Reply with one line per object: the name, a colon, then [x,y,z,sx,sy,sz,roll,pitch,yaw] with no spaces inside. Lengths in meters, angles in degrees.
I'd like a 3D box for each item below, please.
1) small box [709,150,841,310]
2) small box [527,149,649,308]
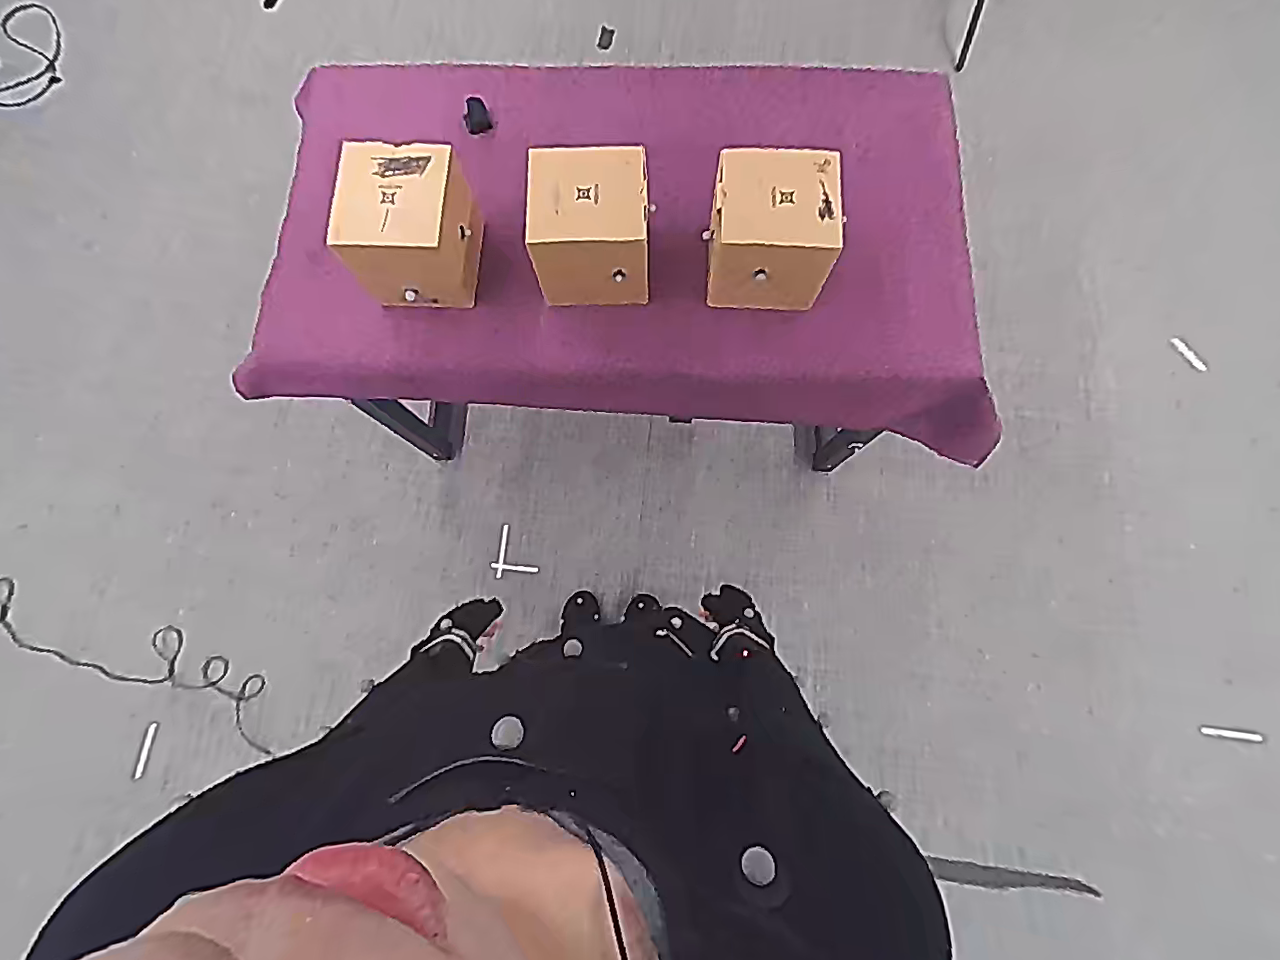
small box: [0.204,-0.388,0.859,0.179,0.176,0.168,3,76,3]
small box: [-0.075,-0.393,0.867,0.179,0.176,0.168,-2,75,1]
